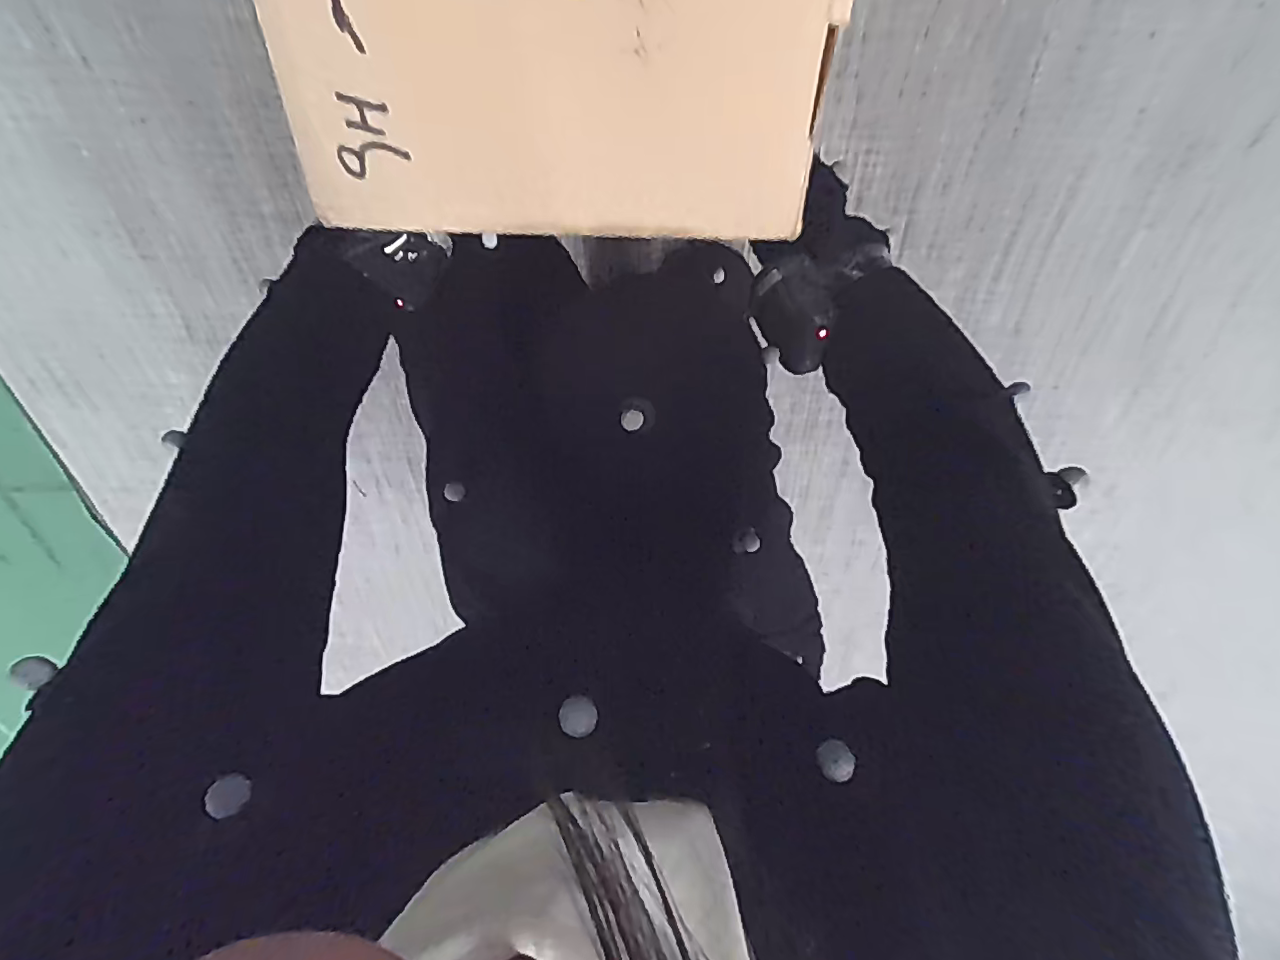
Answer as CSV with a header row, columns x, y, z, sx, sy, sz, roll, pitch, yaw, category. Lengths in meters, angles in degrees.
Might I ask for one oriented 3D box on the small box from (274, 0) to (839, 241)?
x,y,z,sx,sy,sz,roll,pitch,yaw,category
-0.024,-0.206,0.219,0.179,0.176,0.168,3,125,0,small box
